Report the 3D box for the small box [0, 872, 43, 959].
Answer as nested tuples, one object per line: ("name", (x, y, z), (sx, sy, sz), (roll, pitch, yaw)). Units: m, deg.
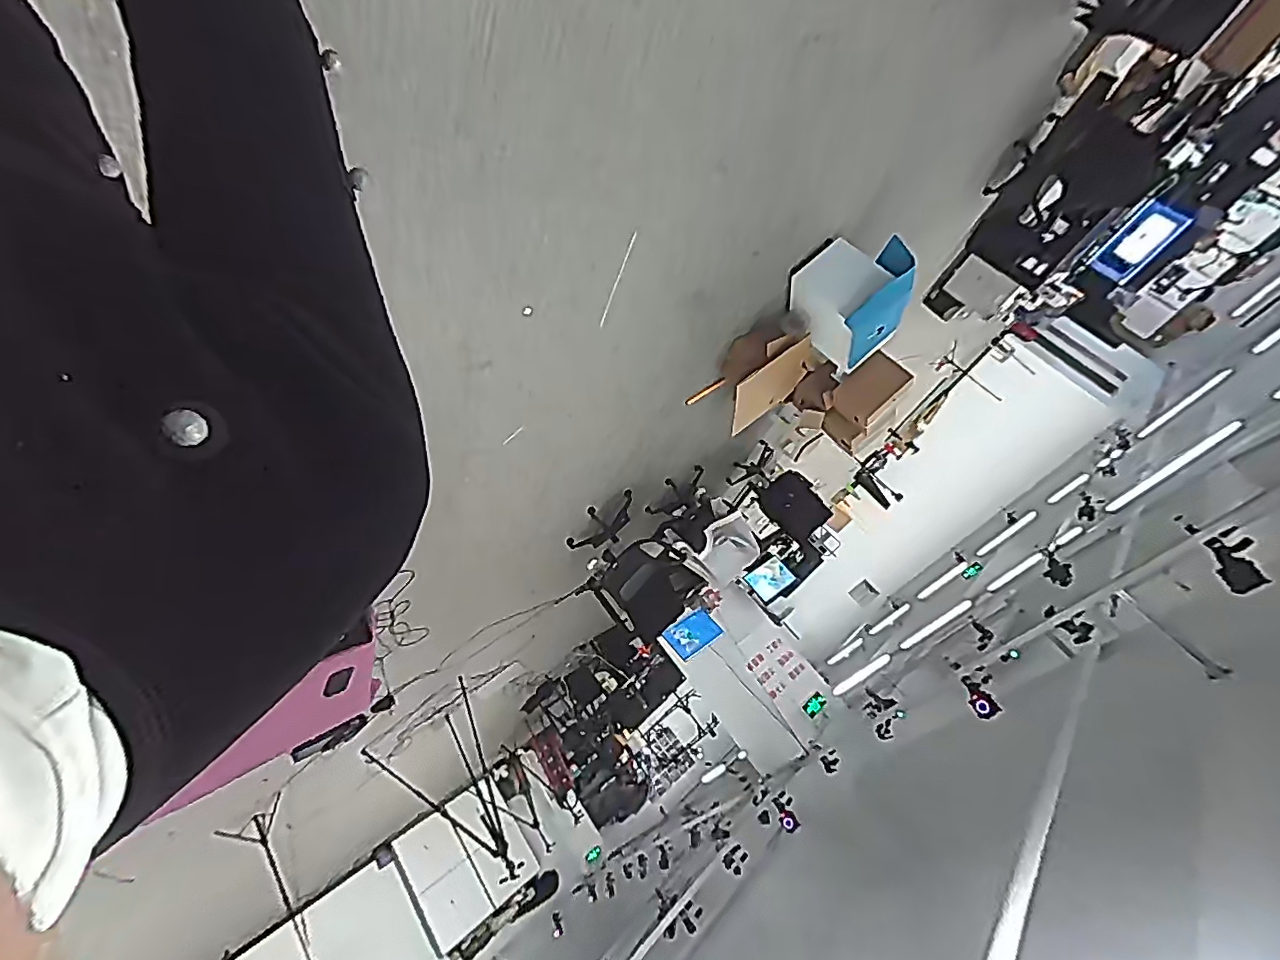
("small box", (-1.723, 1.175, 1.418), (0.168, 0.176, 0.179), (-20, 151, -44))
